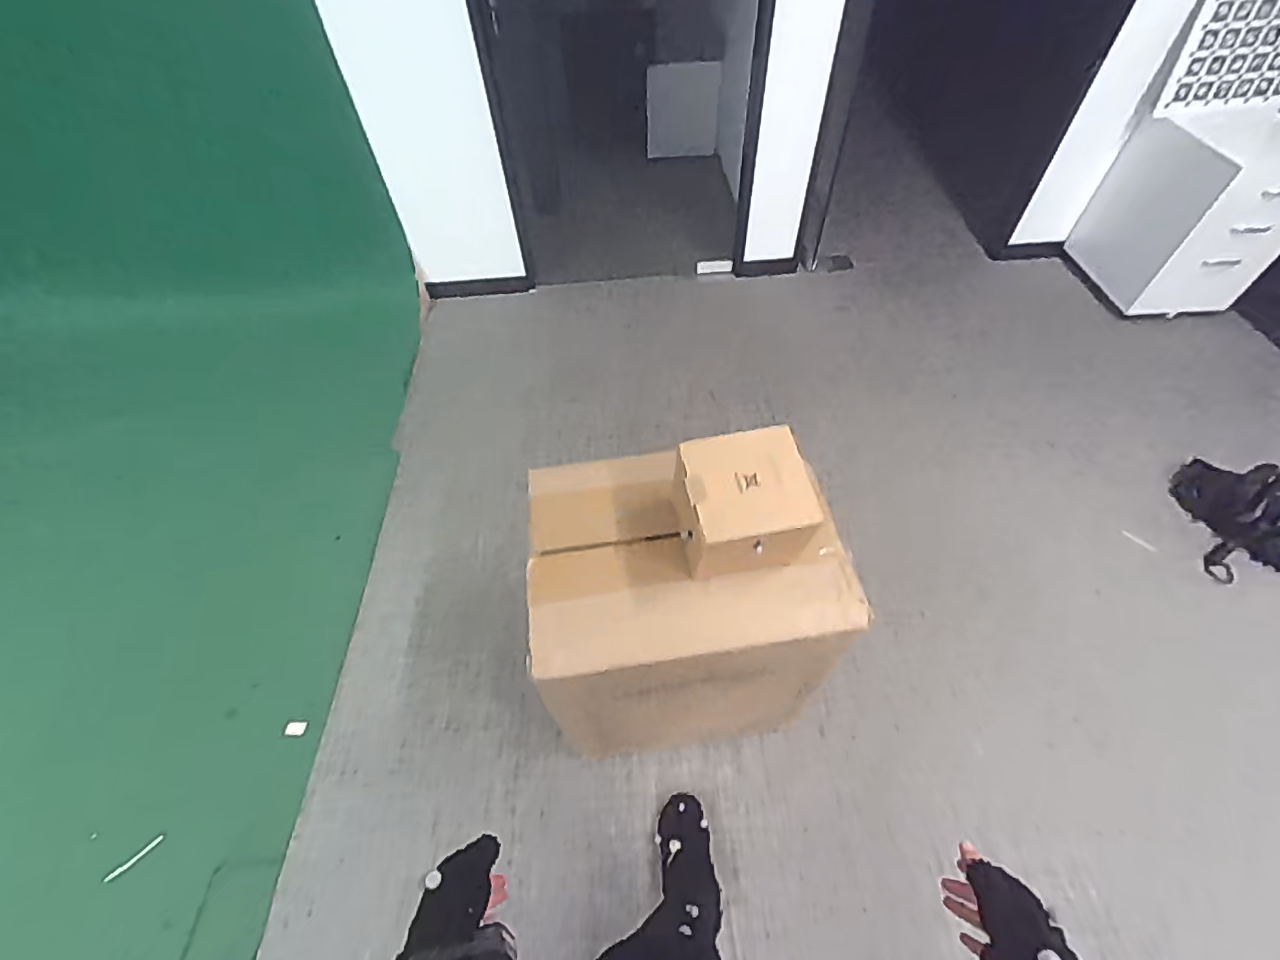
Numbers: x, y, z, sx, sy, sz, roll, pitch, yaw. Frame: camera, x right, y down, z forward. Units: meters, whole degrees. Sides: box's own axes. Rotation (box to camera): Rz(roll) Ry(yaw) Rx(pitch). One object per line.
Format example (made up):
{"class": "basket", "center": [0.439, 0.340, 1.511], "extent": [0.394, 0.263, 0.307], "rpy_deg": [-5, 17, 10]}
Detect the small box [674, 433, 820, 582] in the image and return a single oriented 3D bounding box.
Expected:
{"class": "small box", "center": [0.153, 0.049, 0.854], "extent": [0.179, 0.176, 0.168], "rpy_deg": [-9, 62, -7]}
